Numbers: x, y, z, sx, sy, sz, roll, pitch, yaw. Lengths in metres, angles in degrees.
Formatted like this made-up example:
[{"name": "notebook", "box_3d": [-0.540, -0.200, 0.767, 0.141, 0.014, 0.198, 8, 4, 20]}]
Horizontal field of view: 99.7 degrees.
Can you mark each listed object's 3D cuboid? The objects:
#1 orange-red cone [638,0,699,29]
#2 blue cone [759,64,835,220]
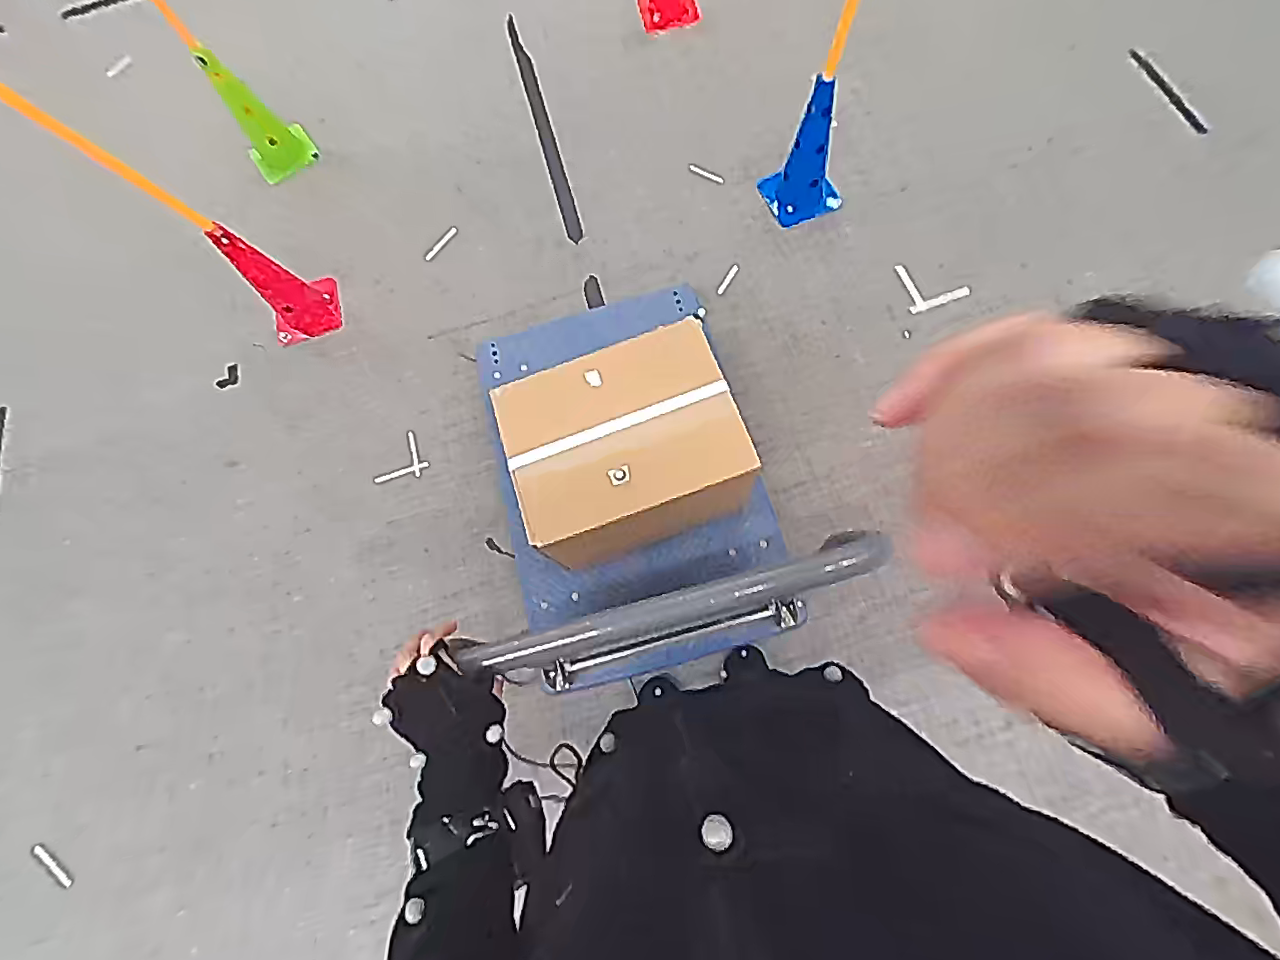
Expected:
[{"name": "orange-red cone", "box_3d": [0.084, -1.714, 1.731, 0.199, 0.360, 0.198, -10, 73, 1]}, {"name": "blue cone", "box_3d": [0.460, -0.925, 1.475, 0.193, 0.380, 0.192, -21, 71, -2]}]
